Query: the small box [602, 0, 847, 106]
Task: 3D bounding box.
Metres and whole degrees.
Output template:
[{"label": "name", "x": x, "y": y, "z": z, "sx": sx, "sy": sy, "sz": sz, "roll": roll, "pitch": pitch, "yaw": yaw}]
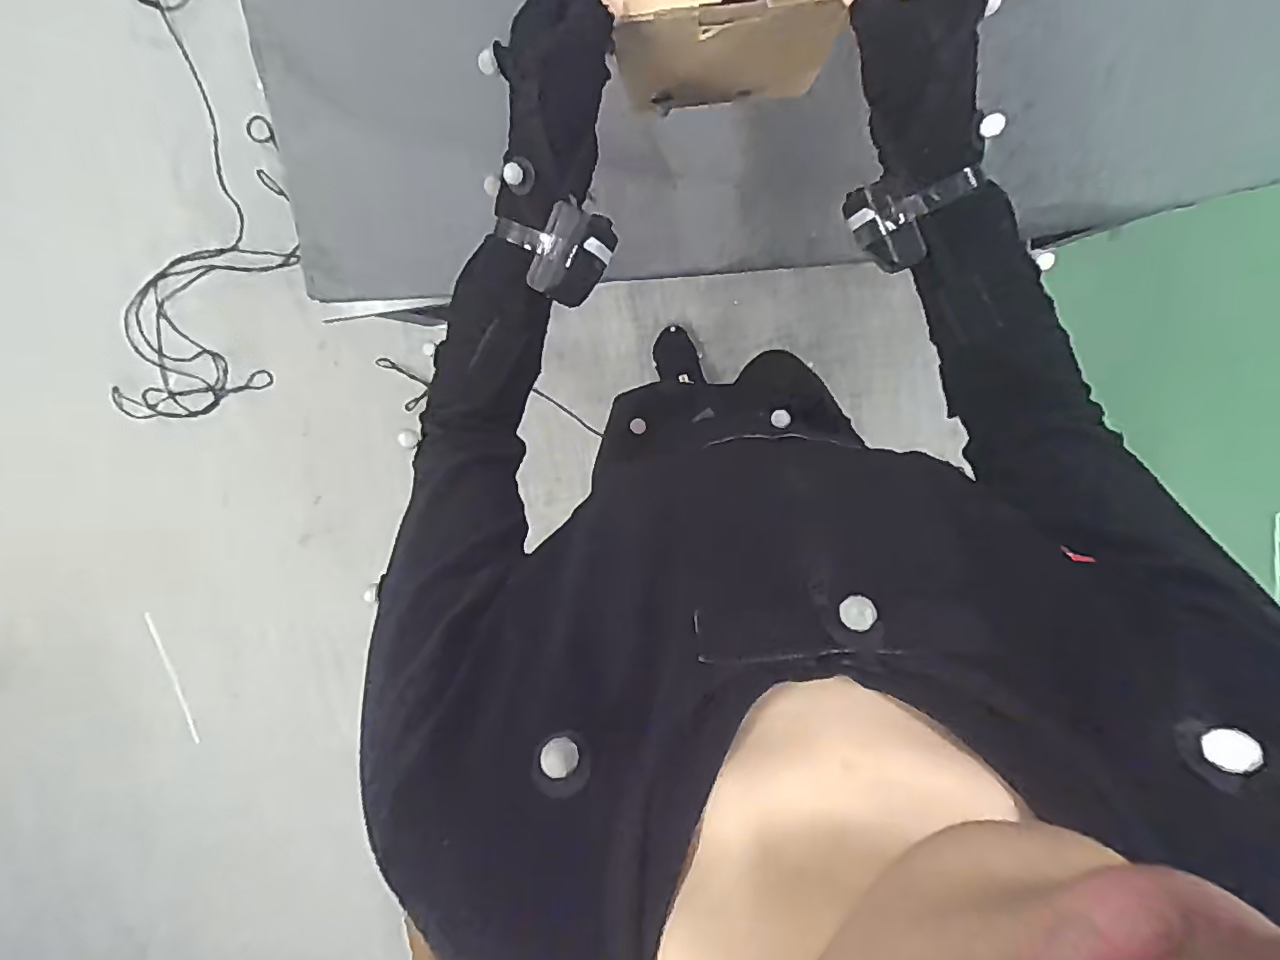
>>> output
[{"label": "small box", "x": 0.059, "y": -0.410, "z": 0.406, "sx": 0.168, "sy": 0.176, "sz": 0.179, "roll": -3, "pitch": 105, "yaw": 5}]
